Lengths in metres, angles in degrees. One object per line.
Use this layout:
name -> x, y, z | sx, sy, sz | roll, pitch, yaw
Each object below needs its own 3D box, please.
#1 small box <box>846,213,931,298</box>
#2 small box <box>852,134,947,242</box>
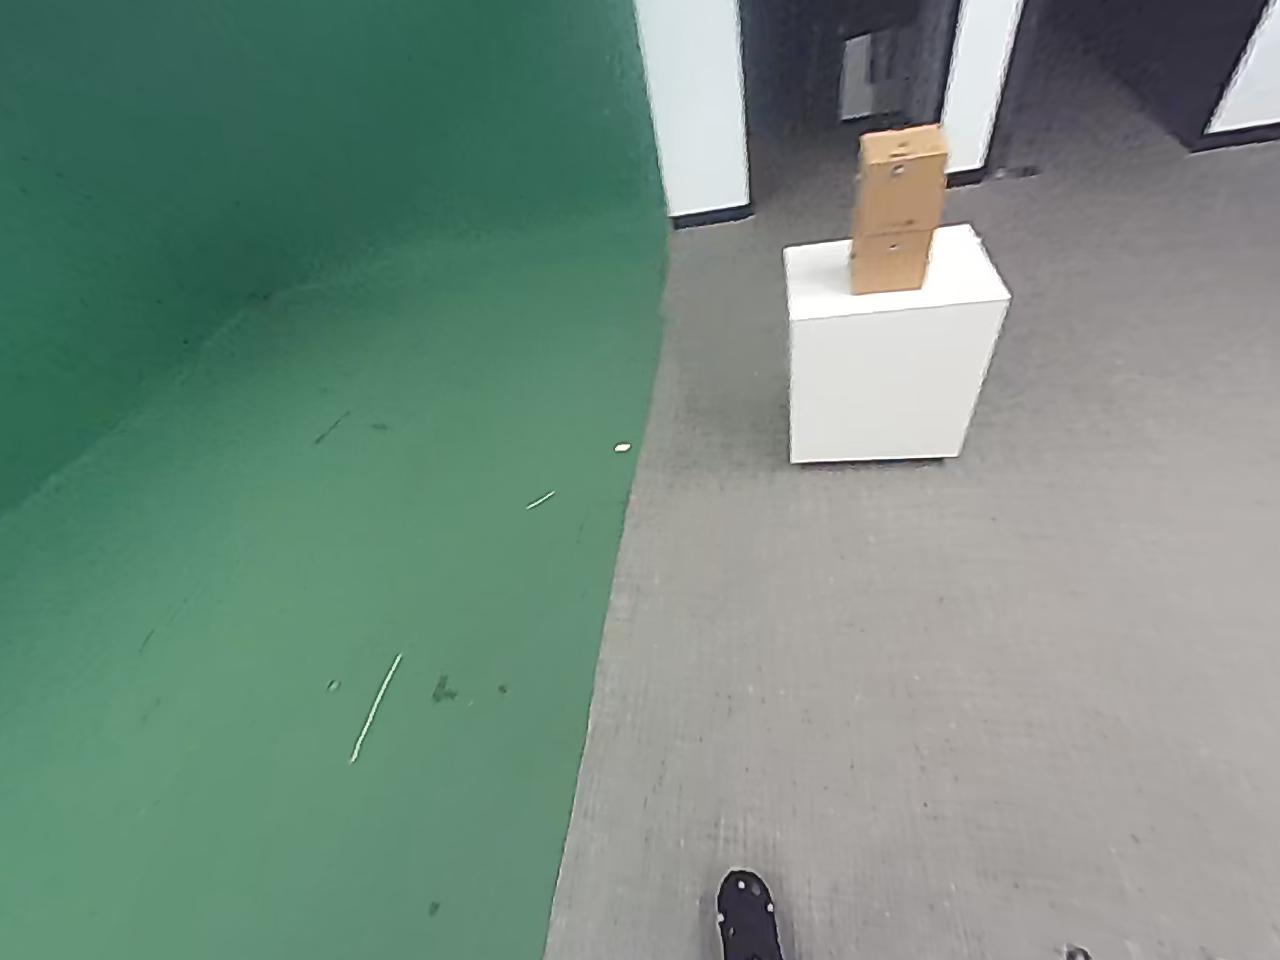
small box -> 0.643, -0.594, 1.421 | 0.179, 0.176, 0.168 | -1, 49, 14
small box -> 0.614, -0.701, 1.303 | 0.168, 0.176, 0.179 | -2, 49, 13
